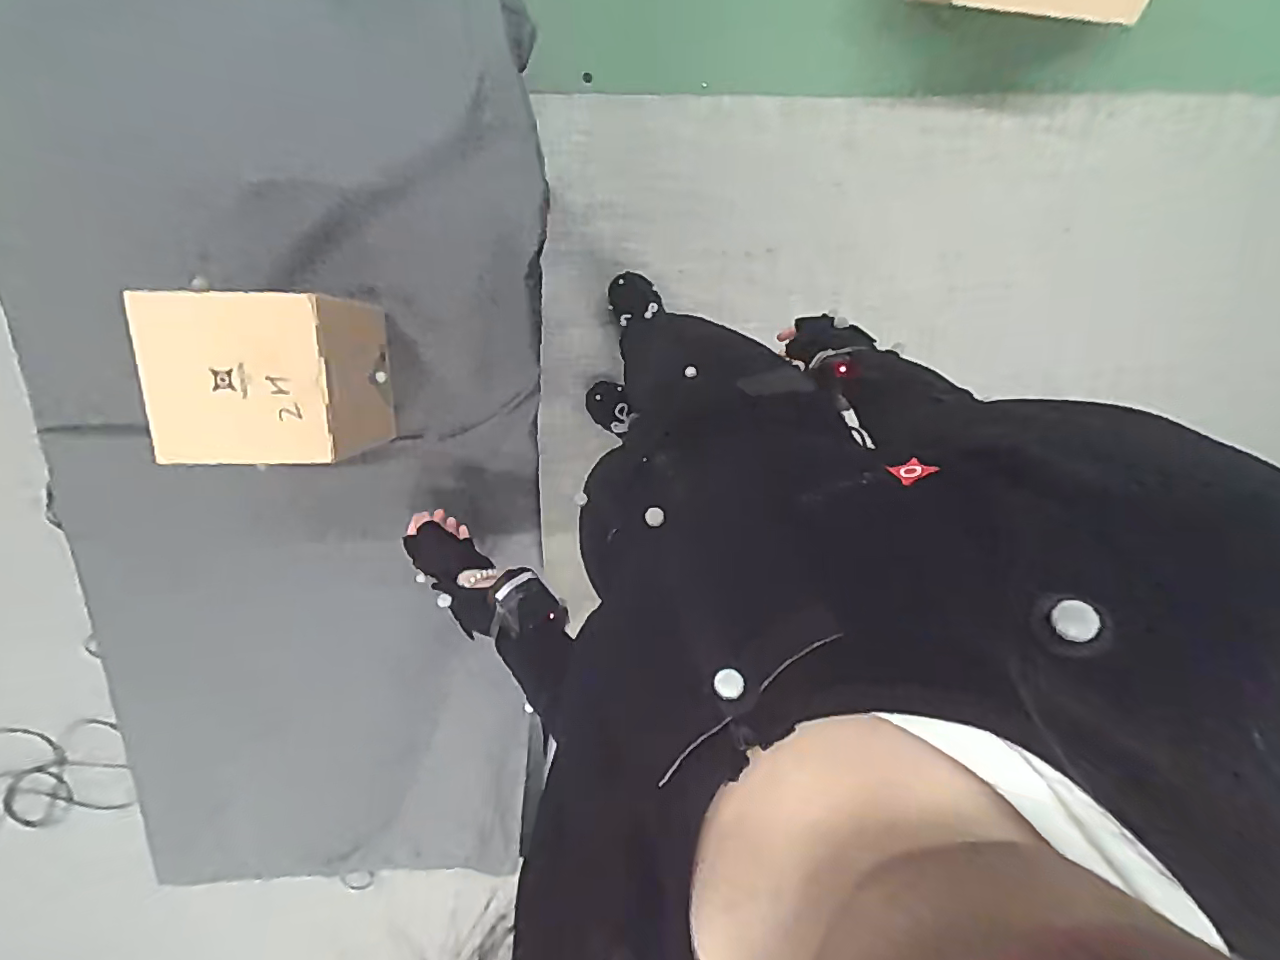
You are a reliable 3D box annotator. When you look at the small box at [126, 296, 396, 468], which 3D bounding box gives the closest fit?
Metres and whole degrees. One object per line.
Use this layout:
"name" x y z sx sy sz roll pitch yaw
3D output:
"small box" -0.398 -0.108 0.602 0.179 0.176 0.168 -1 103 -4
